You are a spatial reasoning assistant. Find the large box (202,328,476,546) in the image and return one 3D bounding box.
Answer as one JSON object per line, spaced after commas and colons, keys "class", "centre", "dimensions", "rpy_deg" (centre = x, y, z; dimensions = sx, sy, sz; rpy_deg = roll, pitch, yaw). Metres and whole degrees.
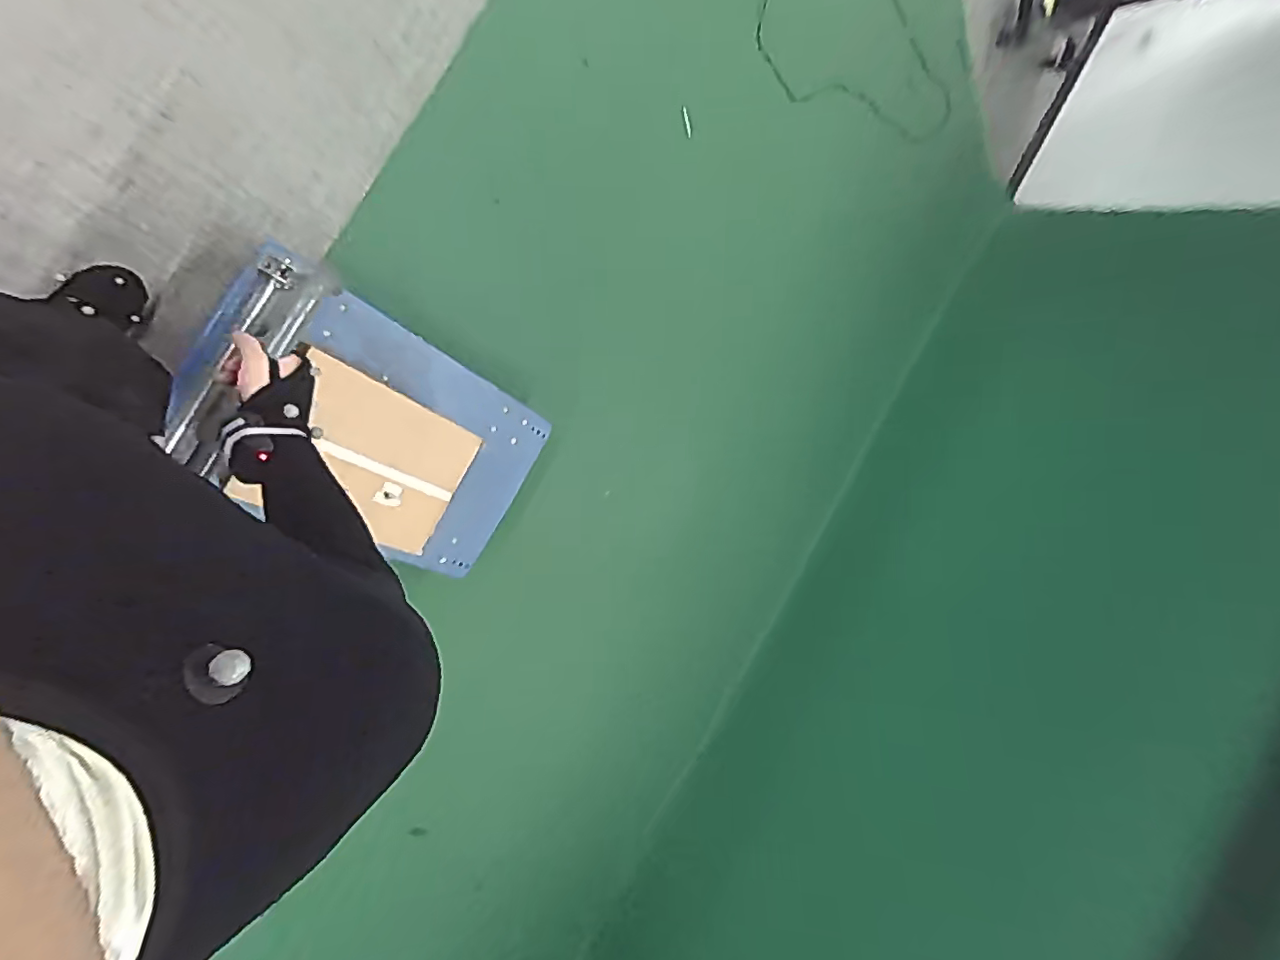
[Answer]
{"class": "large box", "centre": [-0.673, -0.093, 1.226], "dimensions": [0.408, 0.320, 0.320], "rpy_deg": [33, 85, -47]}
